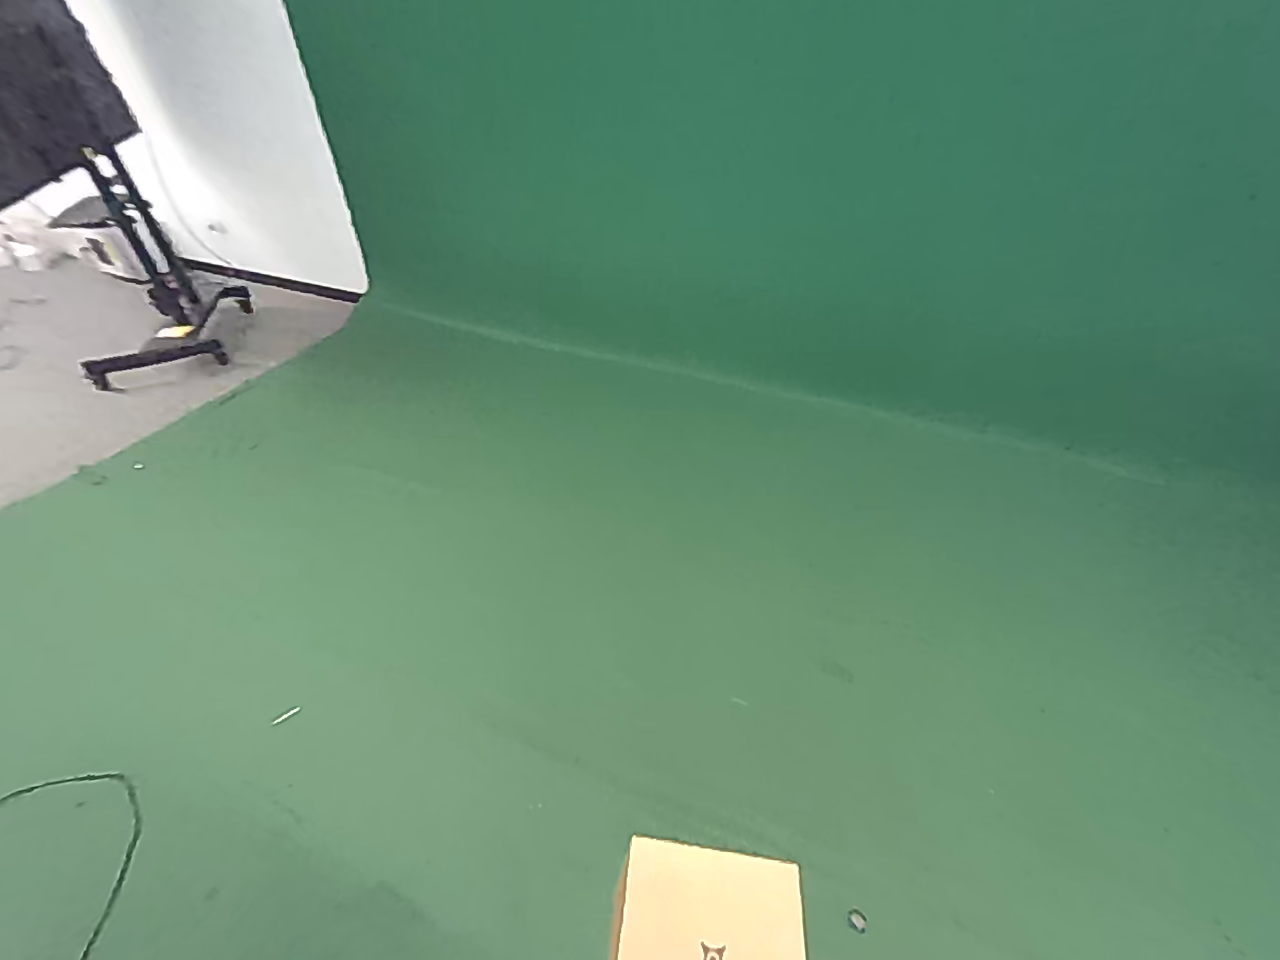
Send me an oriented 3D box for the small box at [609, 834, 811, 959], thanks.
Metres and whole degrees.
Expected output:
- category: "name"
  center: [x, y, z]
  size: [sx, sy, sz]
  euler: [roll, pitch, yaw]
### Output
- category: "small box"
  center: [0.055, 0.469, 0.505]
  size: [0.168, 0.176, 0.179]
  euler: [9, 41, 2]
